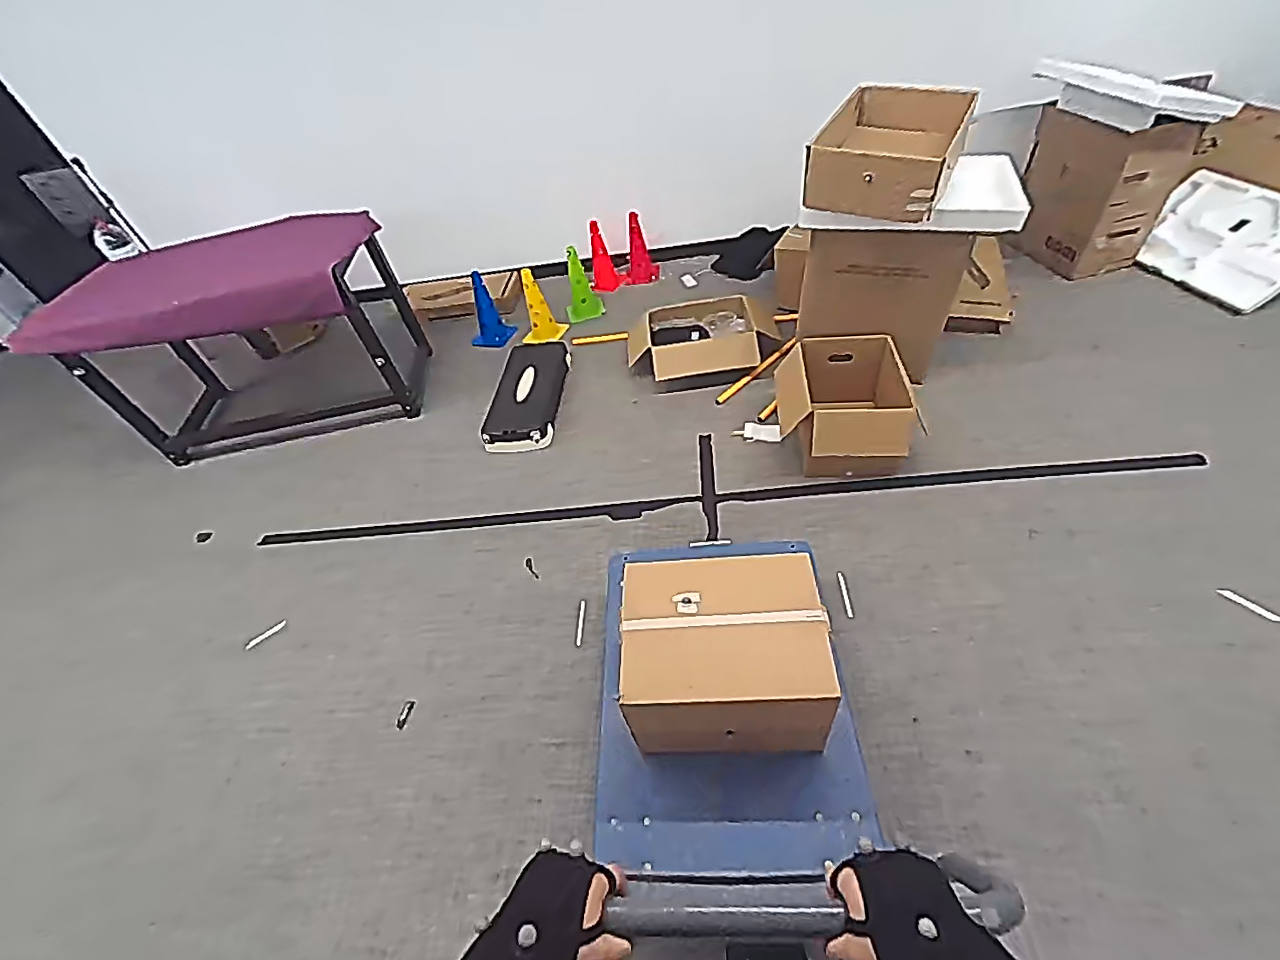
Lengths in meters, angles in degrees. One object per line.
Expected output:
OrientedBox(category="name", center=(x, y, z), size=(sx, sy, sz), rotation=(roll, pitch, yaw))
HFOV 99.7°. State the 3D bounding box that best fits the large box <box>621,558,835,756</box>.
OrientedBox(category="large box", center=(0.185, 0.404, 1.210), size=(0.408, 0.320, 0.320), rotation=(-6, 46, 7))
